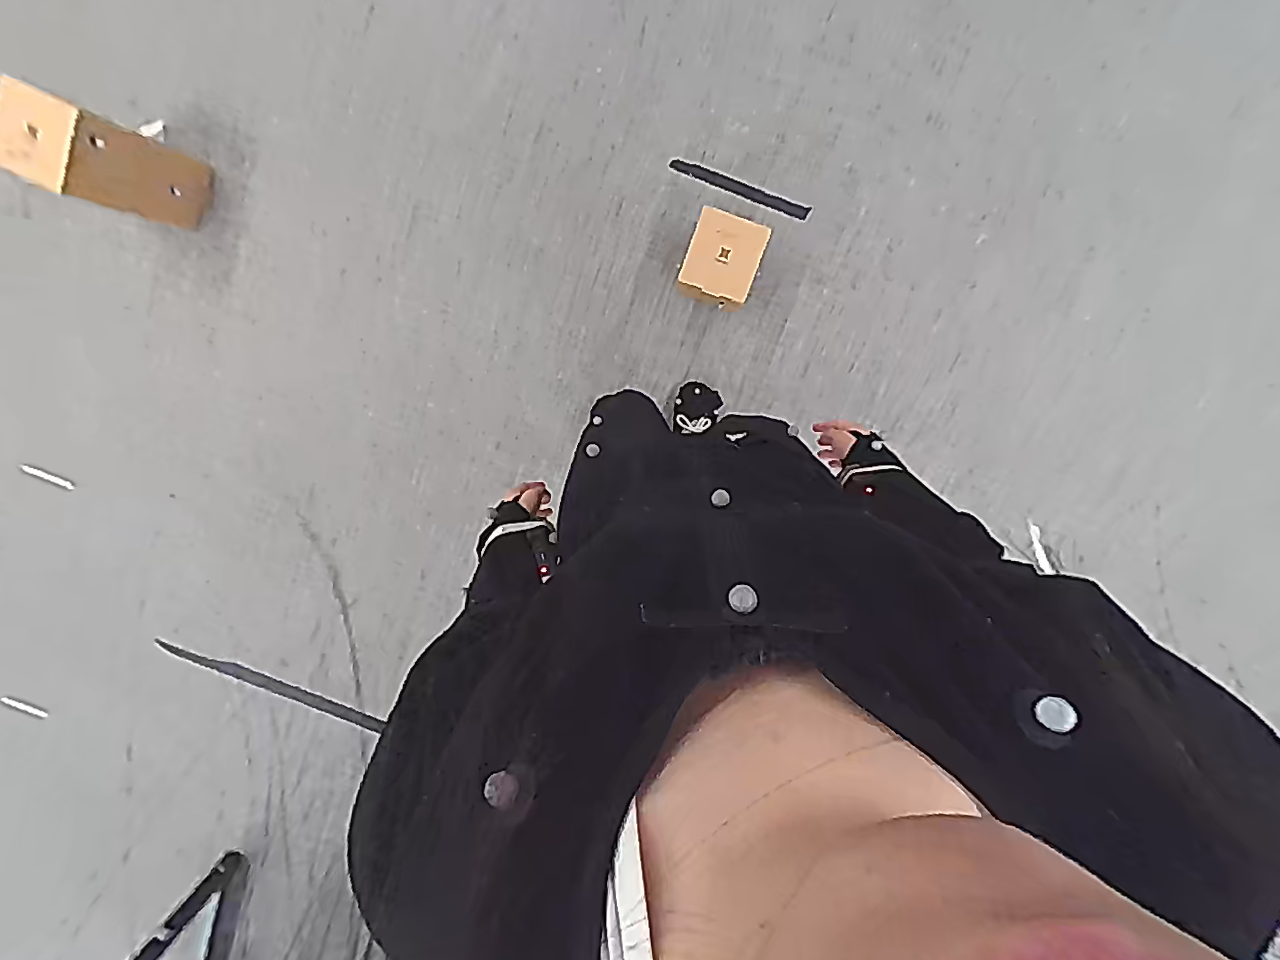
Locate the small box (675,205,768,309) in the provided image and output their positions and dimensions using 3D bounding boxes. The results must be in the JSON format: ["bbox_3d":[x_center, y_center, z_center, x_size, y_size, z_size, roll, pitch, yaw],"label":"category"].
[{"bbox_3d":[0.190,-0.528,1.309,0.168,0.176,0.179,19,101,-2],"label":"small box"}]

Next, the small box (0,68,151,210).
[{"bbox_3d":[-1.214,-0.717,1.161,0.168,0.176,0.179,26,103,-2],"label":"small box"}]
